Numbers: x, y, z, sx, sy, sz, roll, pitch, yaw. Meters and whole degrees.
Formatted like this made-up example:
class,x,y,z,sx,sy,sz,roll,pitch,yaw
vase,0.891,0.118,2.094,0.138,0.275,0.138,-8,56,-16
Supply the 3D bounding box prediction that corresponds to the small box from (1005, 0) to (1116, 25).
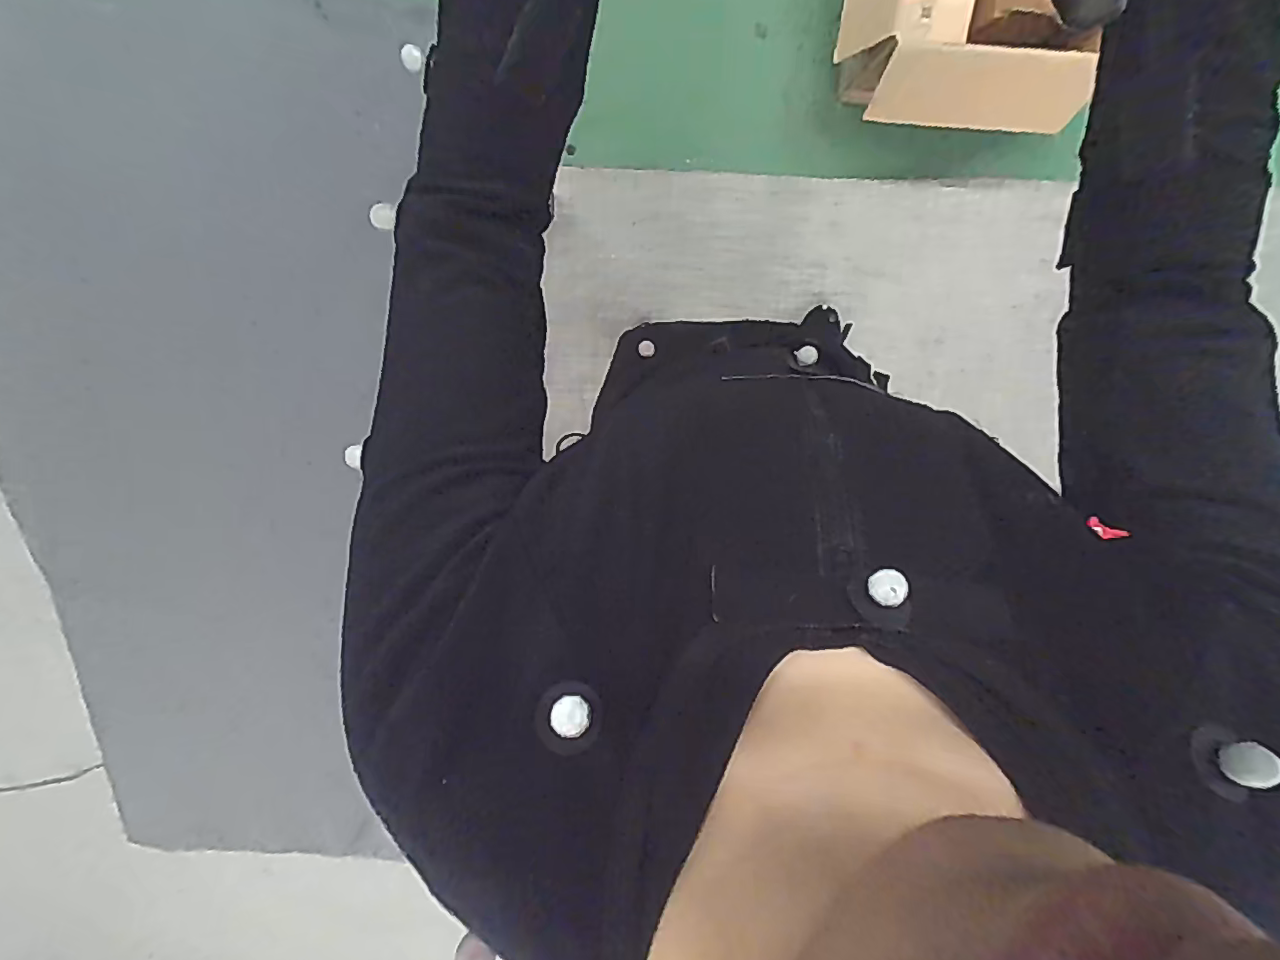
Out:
class,x,y,z,sx,sy,sz,roll,pitch,yaw
small box,0.763,-0.921,0.918,0.168,0.176,0.179,5,107,-4
